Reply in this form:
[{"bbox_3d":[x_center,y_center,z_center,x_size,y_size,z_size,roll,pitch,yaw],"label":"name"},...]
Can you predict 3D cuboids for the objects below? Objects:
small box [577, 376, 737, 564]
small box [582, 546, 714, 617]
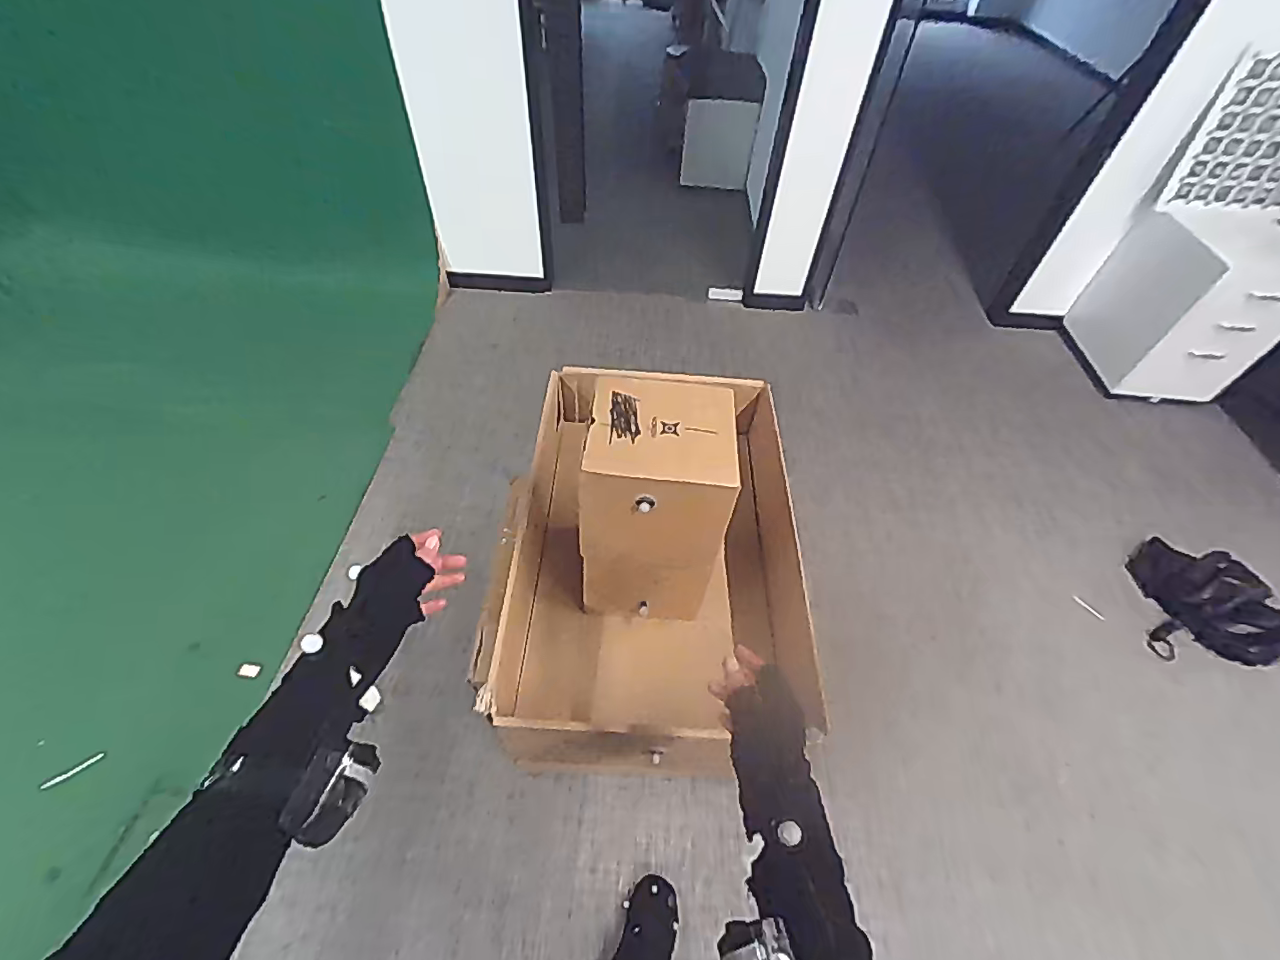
[{"bbox_3d":[0.019,-0.009,0.690,0.179,0.176,0.168,6,49,-1],"label":"small box"},{"bbox_3d":[0.007,0.095,0.817,0.179,0.176,0.168,4,48,-2],"label":"small box"}]
